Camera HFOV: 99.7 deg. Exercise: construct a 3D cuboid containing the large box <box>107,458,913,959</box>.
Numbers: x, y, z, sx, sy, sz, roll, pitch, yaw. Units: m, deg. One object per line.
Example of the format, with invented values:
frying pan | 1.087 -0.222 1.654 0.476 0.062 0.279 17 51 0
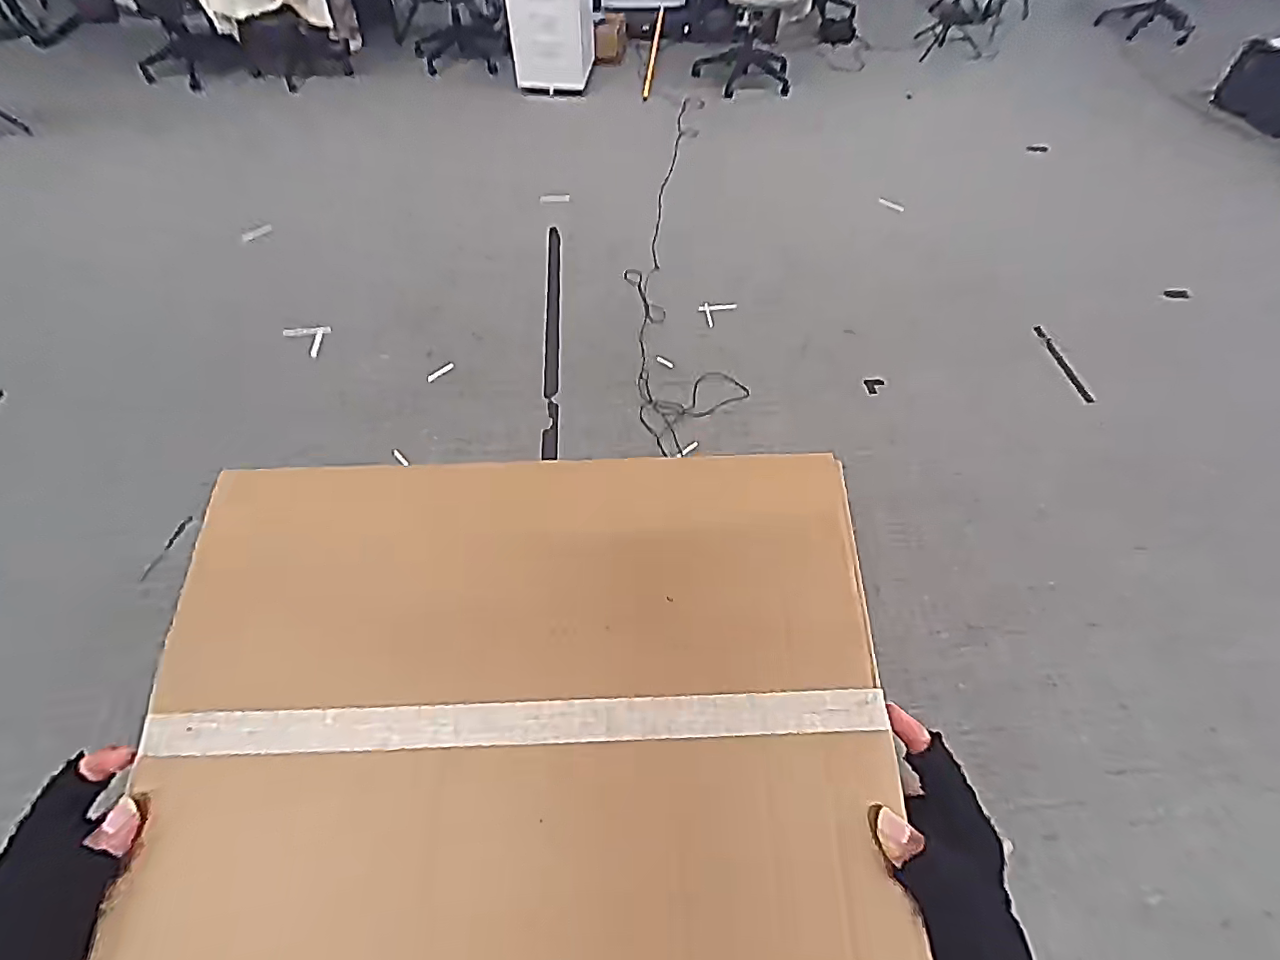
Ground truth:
large box | -0.066 0.191 0.445 0.408 0.320 0.320 -2 67 0
